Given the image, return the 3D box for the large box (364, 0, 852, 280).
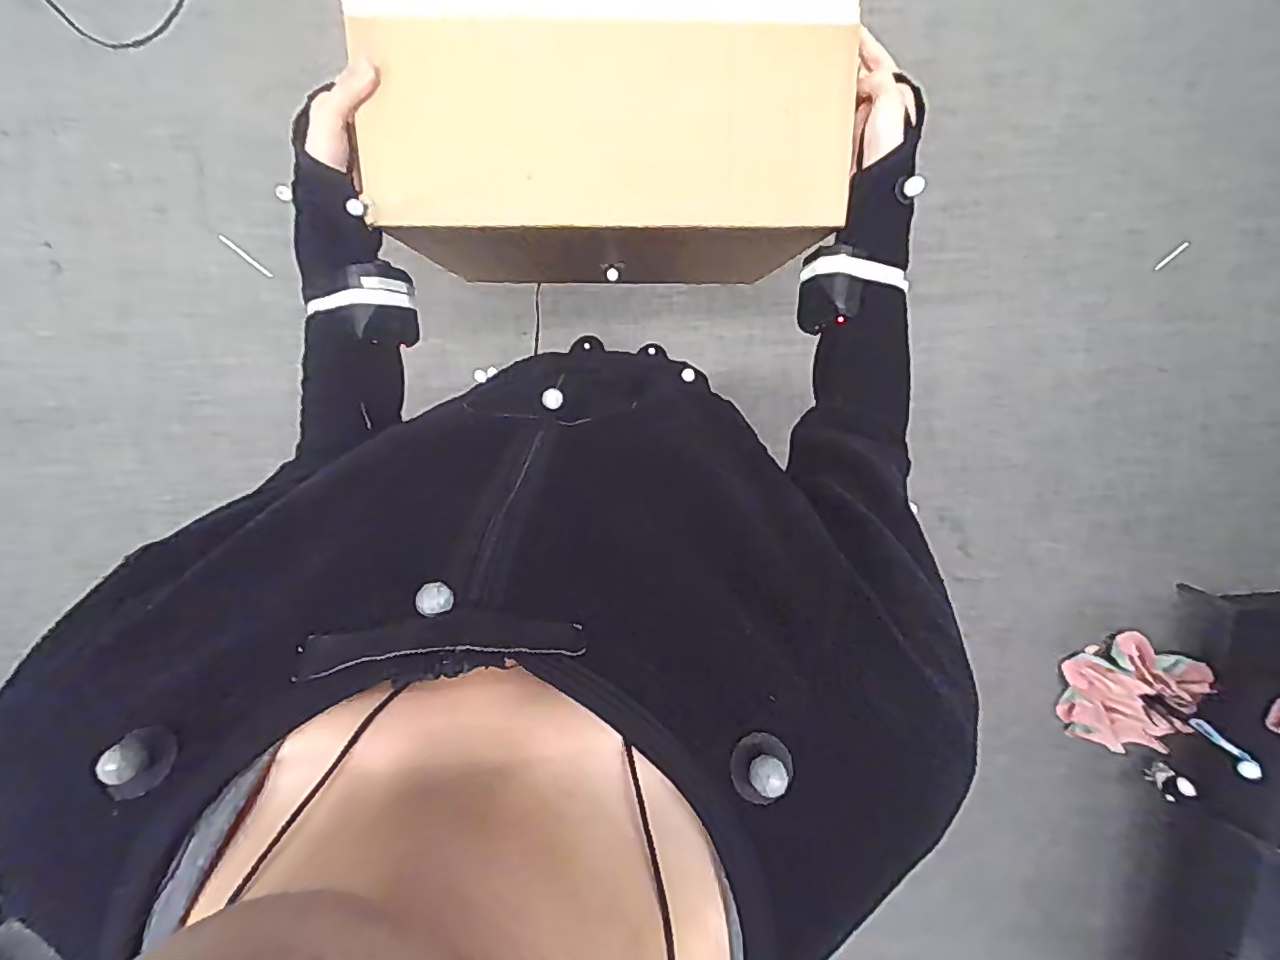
[{"bbox_3d":[-0.027,-0.401,0.586,0.408,0.320,0.320,-1,101,-2],"label":"large box"}]
